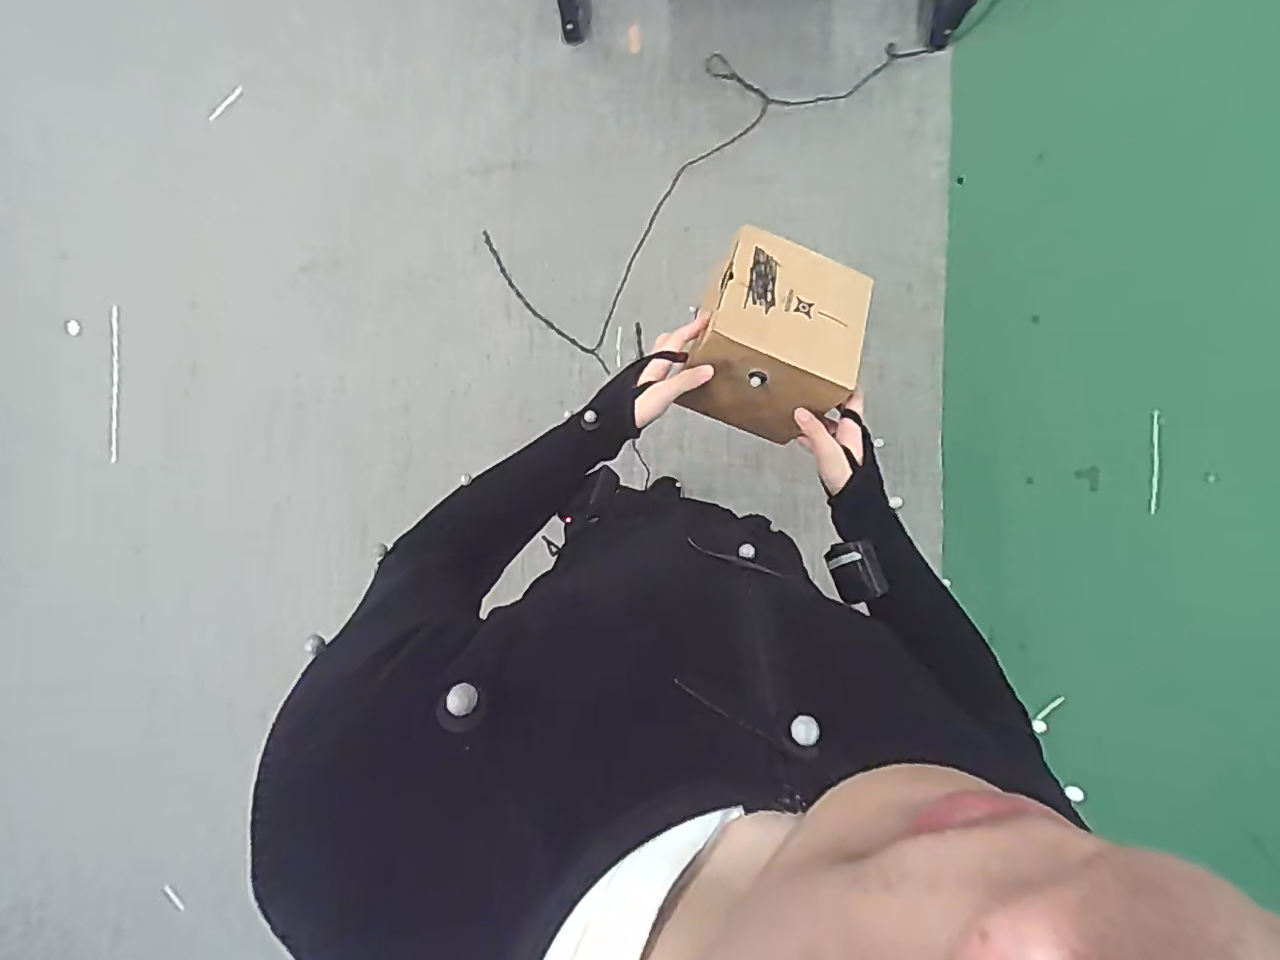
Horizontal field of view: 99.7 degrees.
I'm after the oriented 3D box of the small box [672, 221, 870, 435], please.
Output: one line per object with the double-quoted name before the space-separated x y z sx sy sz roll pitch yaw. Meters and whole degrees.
"small box" 0.155 -0.178 0.682 0.179 0.176 0.168 21 69 -7
